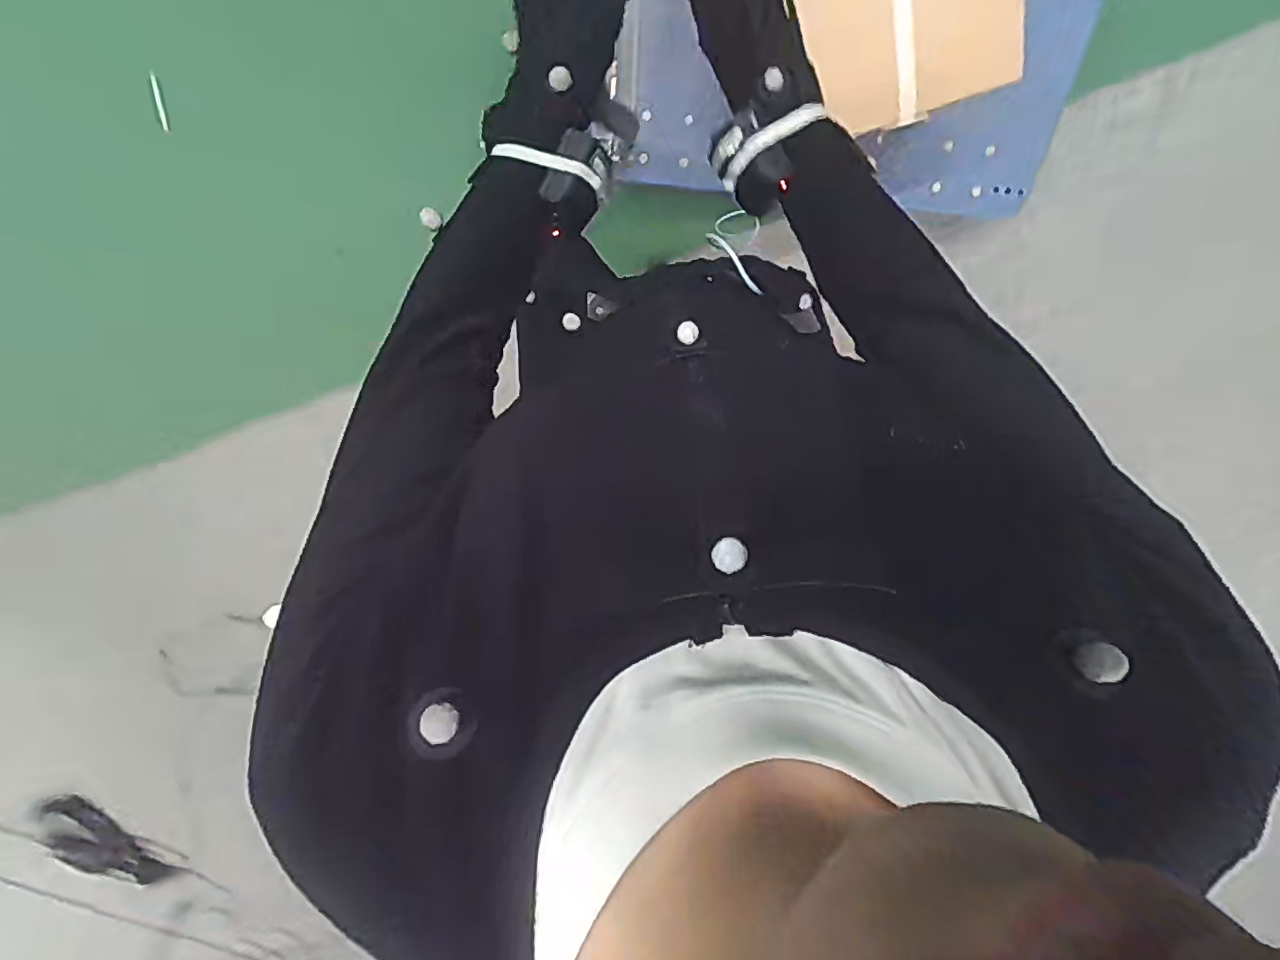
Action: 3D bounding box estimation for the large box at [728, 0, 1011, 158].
[{"bbox_3d":[0.305,-0.763,0.810,0.320,0.320,0.408,-14,115,9],"label":"large box"}]
